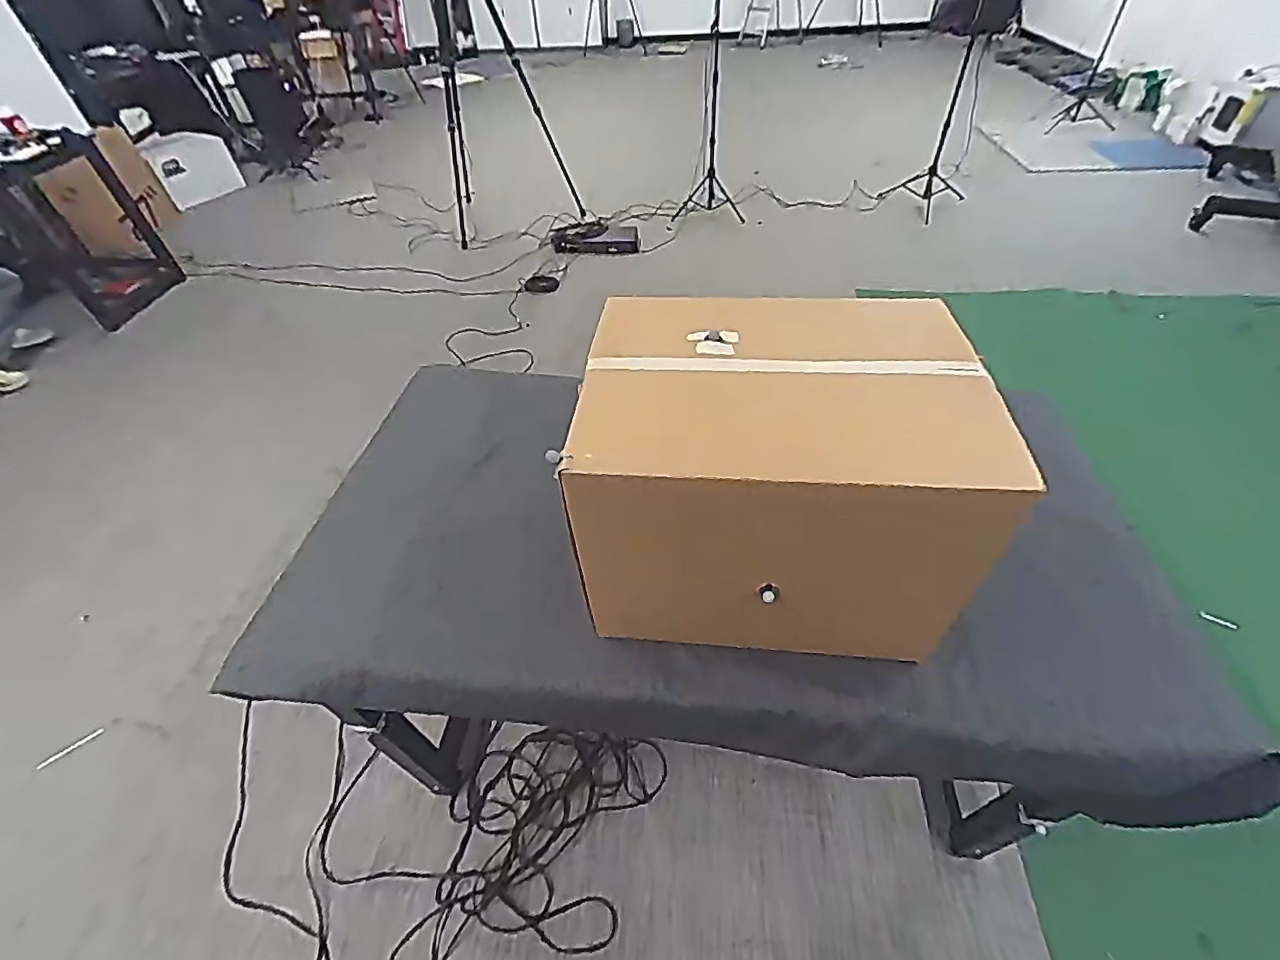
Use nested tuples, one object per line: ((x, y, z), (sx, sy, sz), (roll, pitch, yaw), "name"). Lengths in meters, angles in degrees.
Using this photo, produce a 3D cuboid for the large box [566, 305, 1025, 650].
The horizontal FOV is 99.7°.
((0.153, -0.001, 0.681), (0.408, 0.320, 0.320), (1, 46, 7), "large box")
